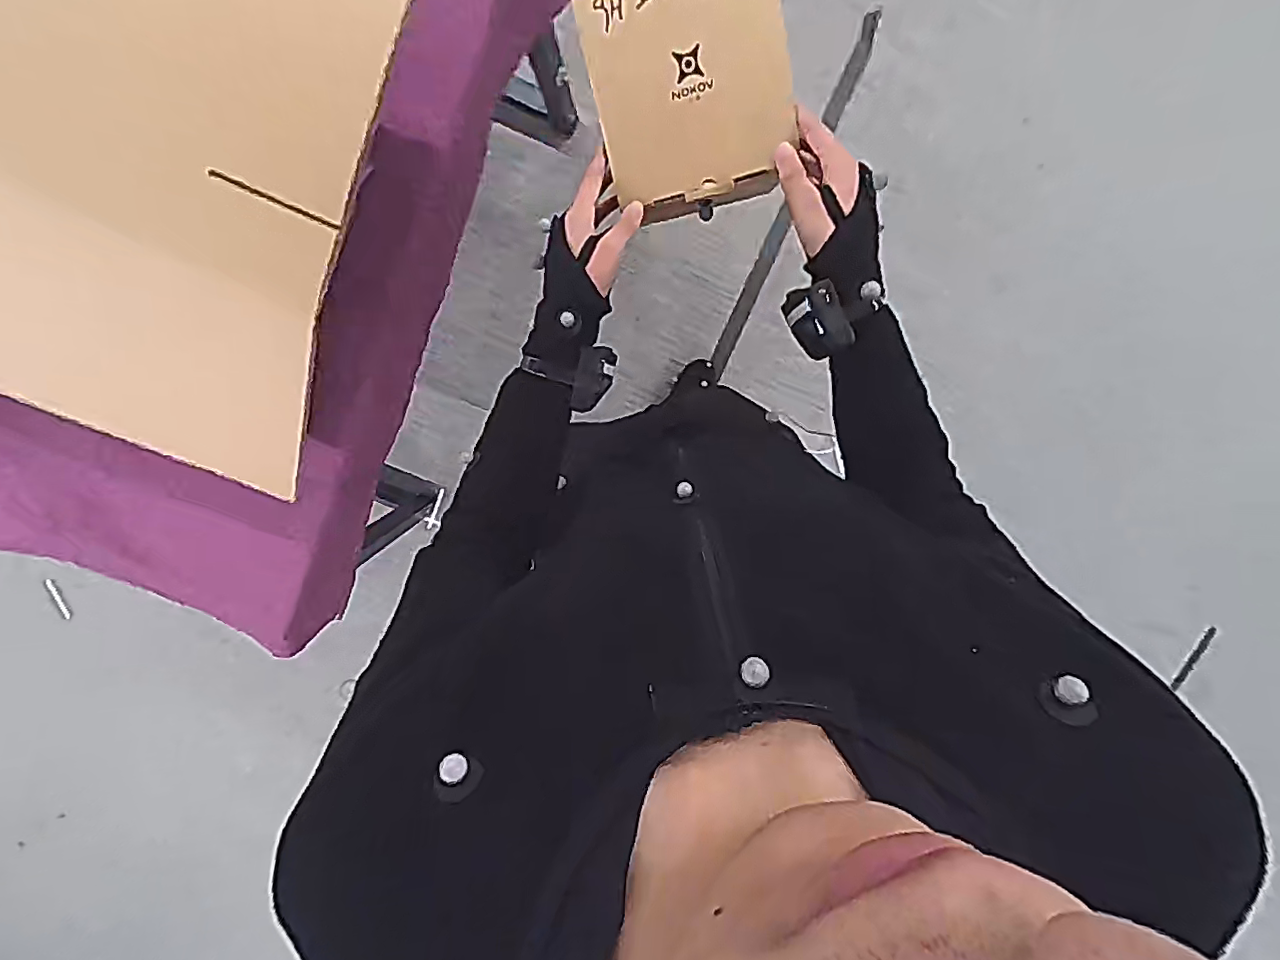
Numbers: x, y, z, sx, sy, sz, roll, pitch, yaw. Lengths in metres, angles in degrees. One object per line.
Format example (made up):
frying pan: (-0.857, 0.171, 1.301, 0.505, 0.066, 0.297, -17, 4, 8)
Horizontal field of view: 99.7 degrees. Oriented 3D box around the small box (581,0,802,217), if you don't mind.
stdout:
small box: (0.053, -0.370, 0.532, 0.168, 0.176, 0.179, -11, 110, 8)
